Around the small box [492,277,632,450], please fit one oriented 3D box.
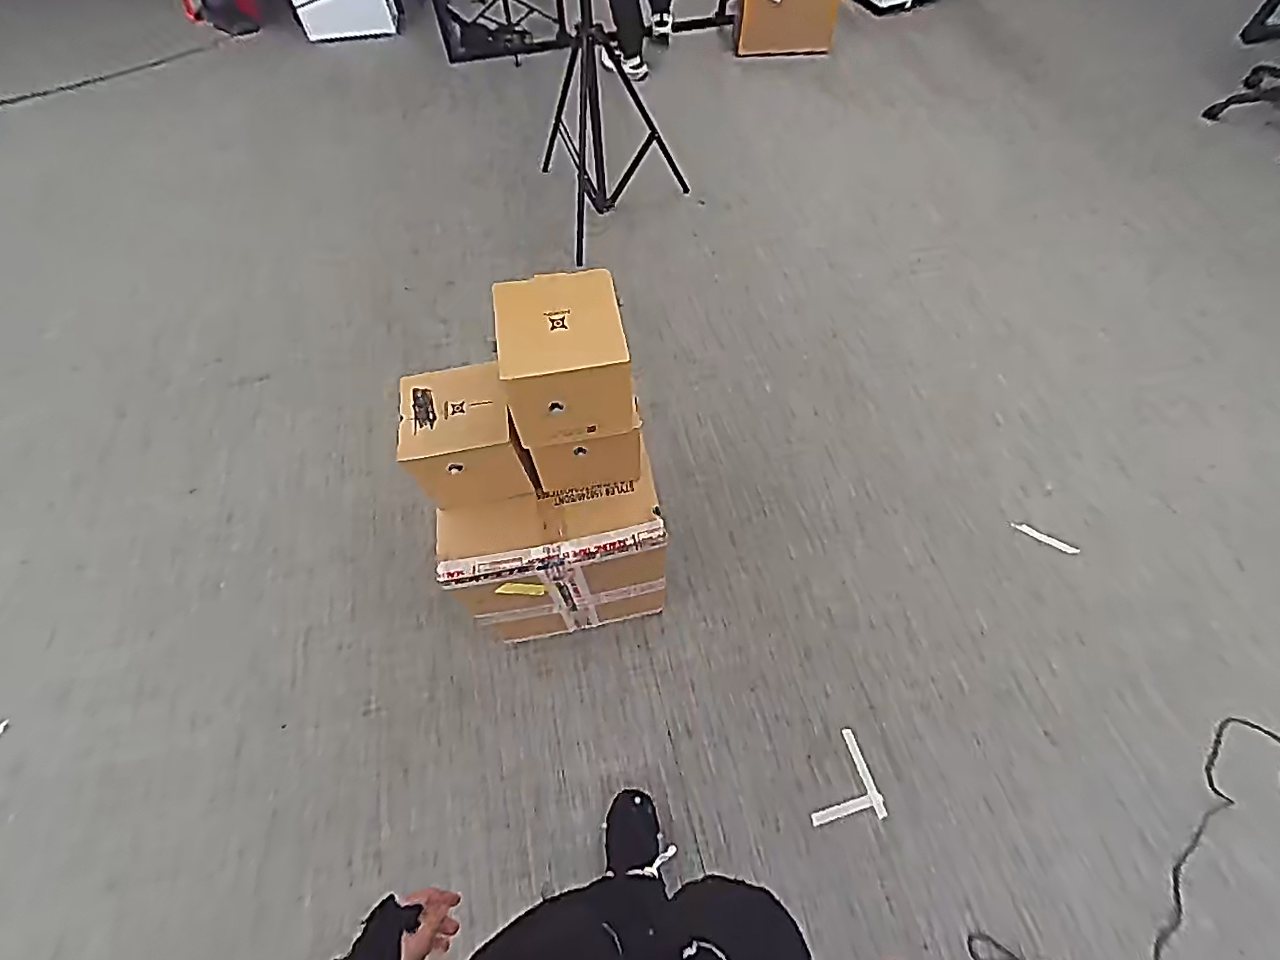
[{"bbox_3d":[-0.107,-0.158,0.780,0.168,0.176,0.179,-10,61,-5],"label":"small box"}]
